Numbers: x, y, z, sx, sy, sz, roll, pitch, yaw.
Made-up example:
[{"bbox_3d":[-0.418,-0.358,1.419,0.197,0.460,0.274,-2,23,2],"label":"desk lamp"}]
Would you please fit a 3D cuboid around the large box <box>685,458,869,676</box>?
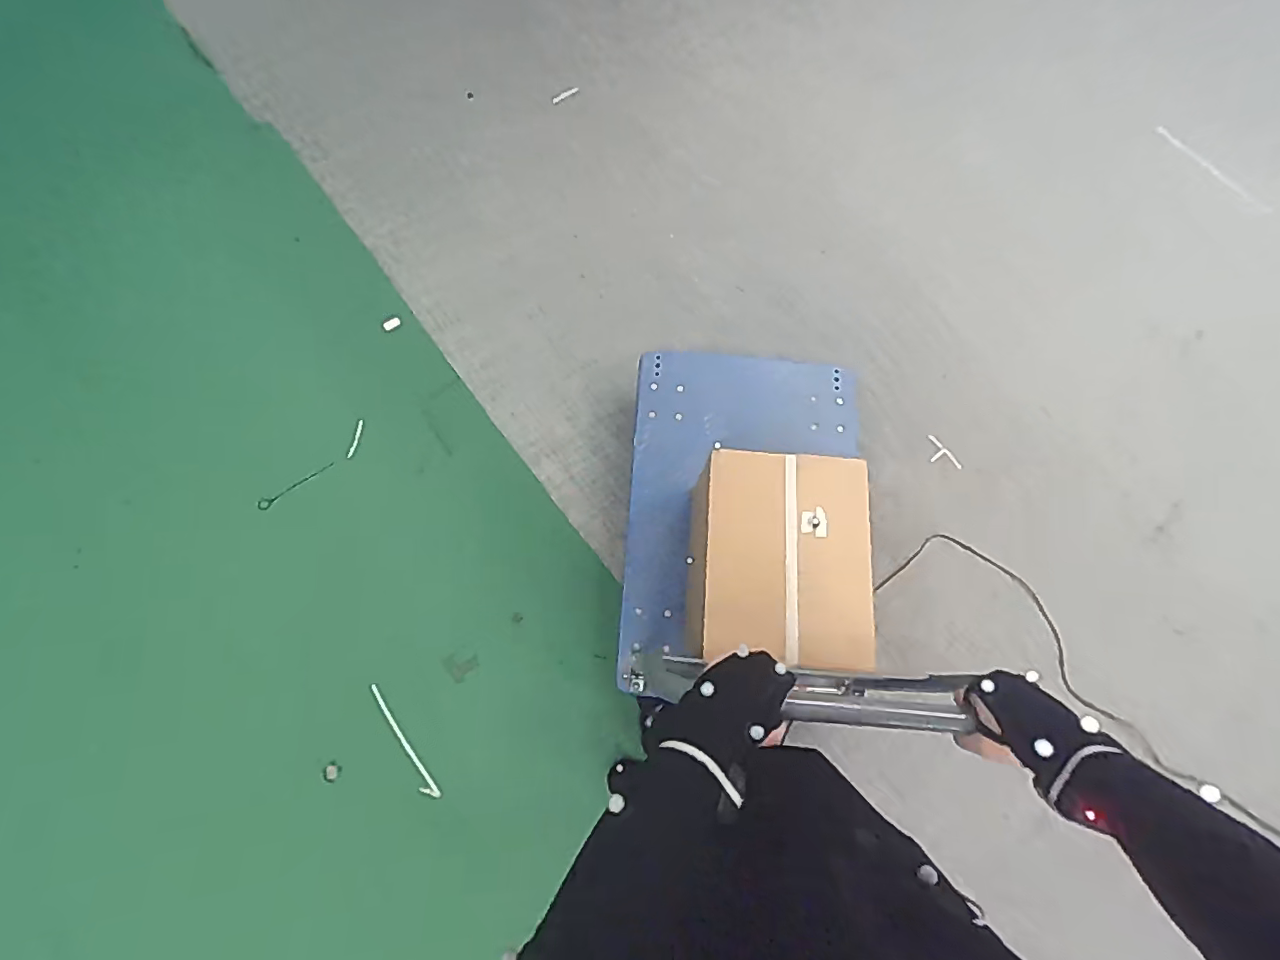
[{"bbox_3d":[0.266,0.197,1.164,0.320,0.320,0.408,5,74,-1],"label":"large box"}]
